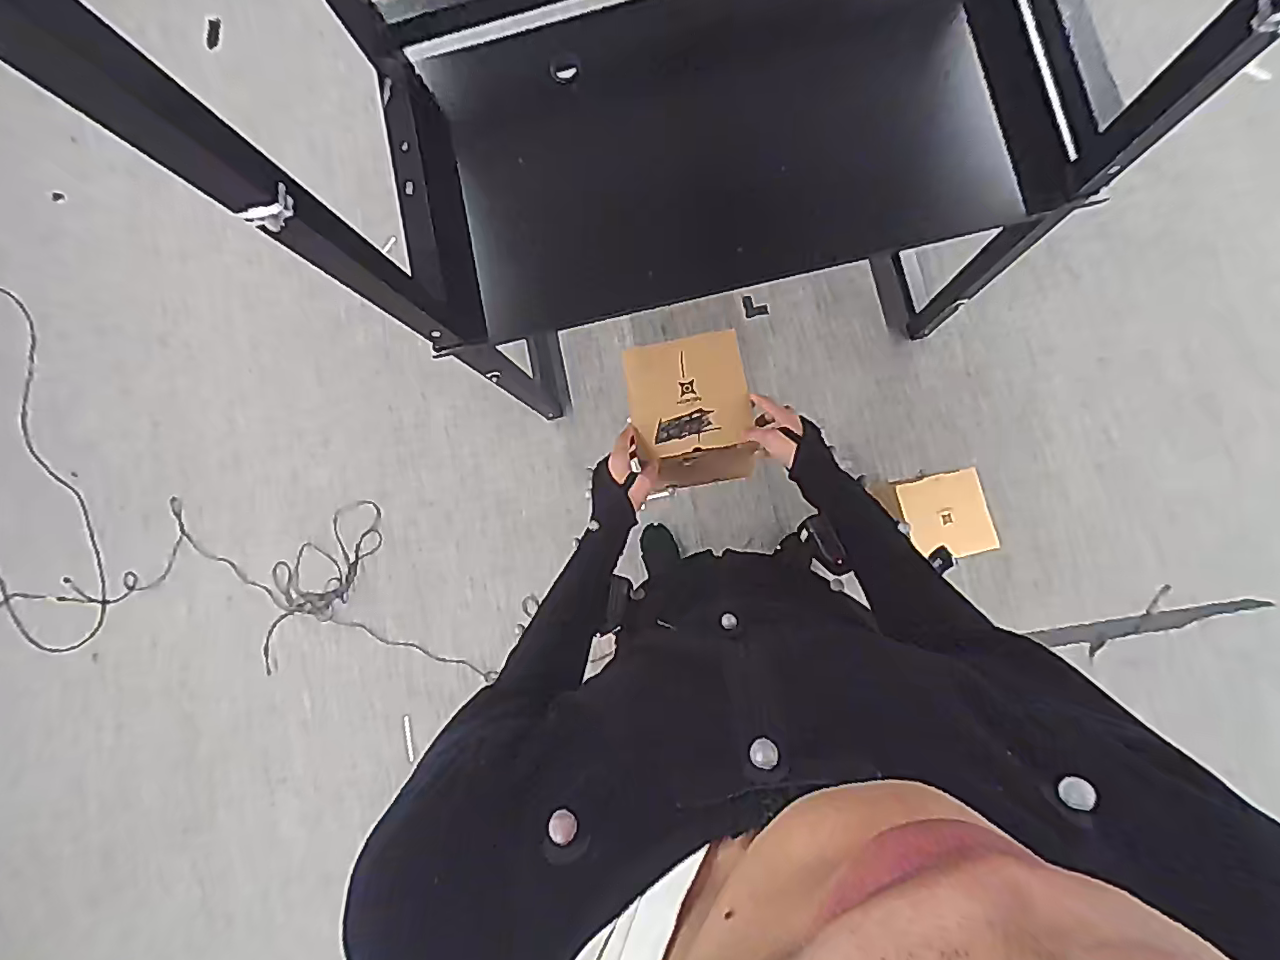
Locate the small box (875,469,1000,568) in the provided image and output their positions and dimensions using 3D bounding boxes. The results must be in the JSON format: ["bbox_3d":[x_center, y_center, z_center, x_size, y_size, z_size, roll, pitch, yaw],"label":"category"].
[{"bbox_3d":[0.641,0.084,1.186,0.168,0.176,0.179,-15,84,6],"label":"small box"}]

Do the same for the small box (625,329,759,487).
[{"bbox_3d":[0.080,-0.095,0.814,0.168,0.176,0.179,-10,73,6],"label":"small box"}]
